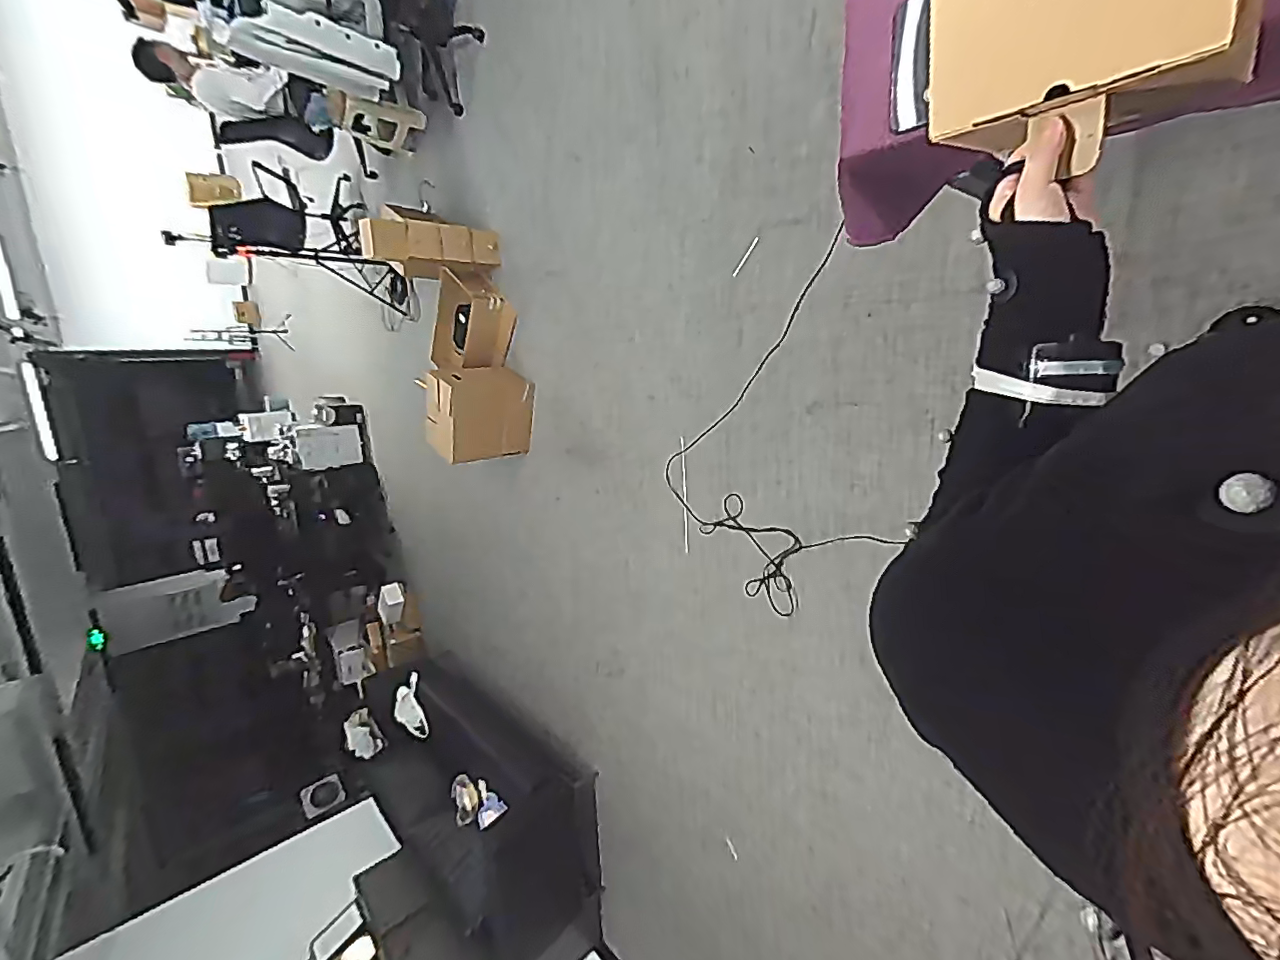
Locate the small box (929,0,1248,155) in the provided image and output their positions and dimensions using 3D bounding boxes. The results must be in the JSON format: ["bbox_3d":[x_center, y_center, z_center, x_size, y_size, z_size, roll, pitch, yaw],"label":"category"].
[{"bbox_3d":[0.337,-0.367,0.405,0.168,0.176,0.179,11,117,47],"label":"small box"}]
